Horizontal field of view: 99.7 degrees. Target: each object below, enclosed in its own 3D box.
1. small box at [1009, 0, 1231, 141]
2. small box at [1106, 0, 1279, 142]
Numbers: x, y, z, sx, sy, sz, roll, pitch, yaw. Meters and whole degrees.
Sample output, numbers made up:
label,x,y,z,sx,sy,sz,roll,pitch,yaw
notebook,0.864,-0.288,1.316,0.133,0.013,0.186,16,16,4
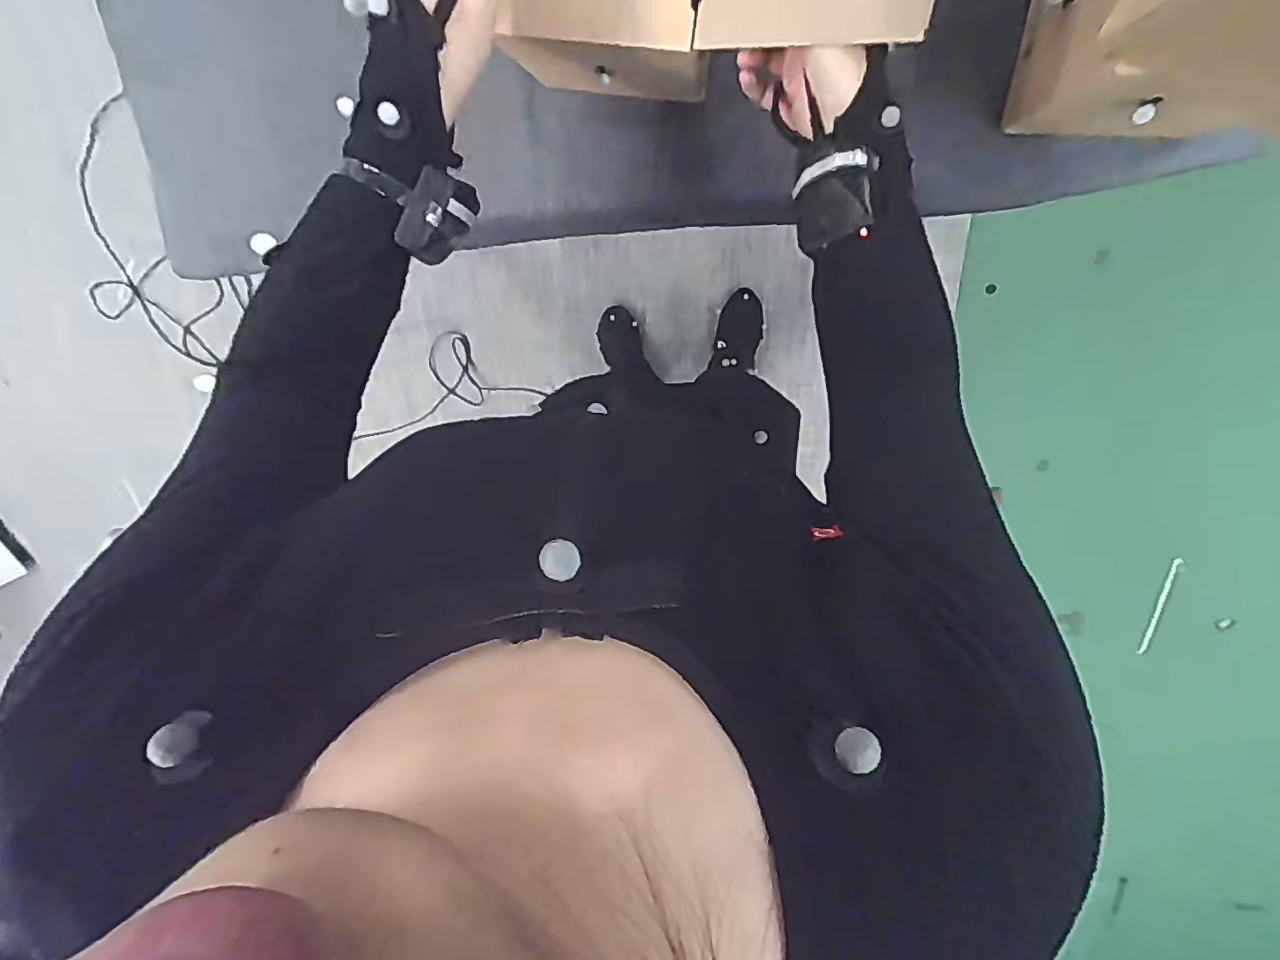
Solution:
label,x,y,z,sx,sy,sz,roll,pitch,yaw
small box,0.438,-0.383,0.430,0.179,0.176,0.168,6,111,7
small box,0.419,-0.311,0.284,0.179,0.176,0.168,25,112,-2
